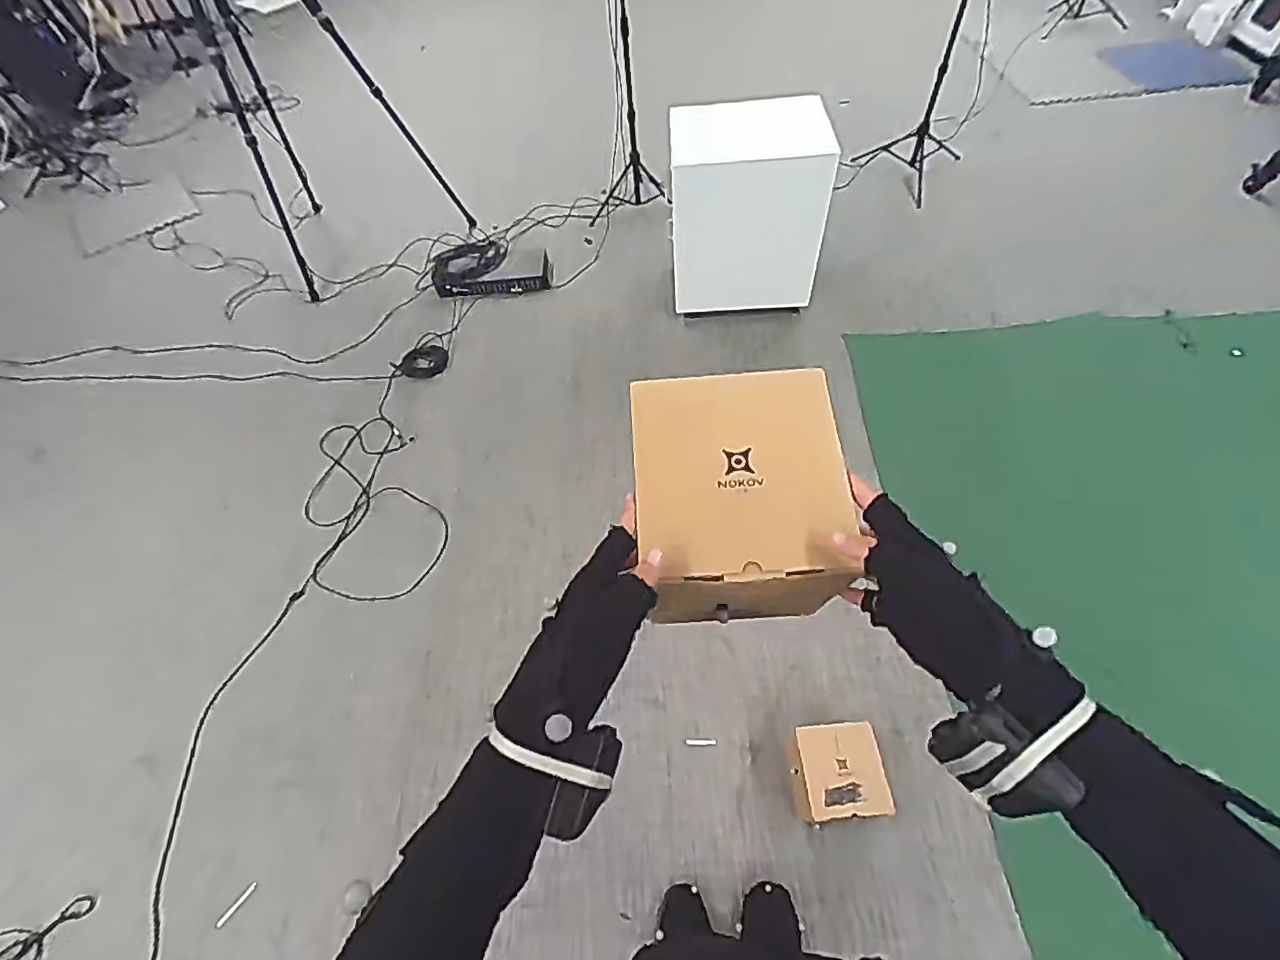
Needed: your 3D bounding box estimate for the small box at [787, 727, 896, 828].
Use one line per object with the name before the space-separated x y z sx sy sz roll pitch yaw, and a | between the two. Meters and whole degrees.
small box | 0.426 0.648 1.173 0.168 0.176 0.179 -5 55 2
